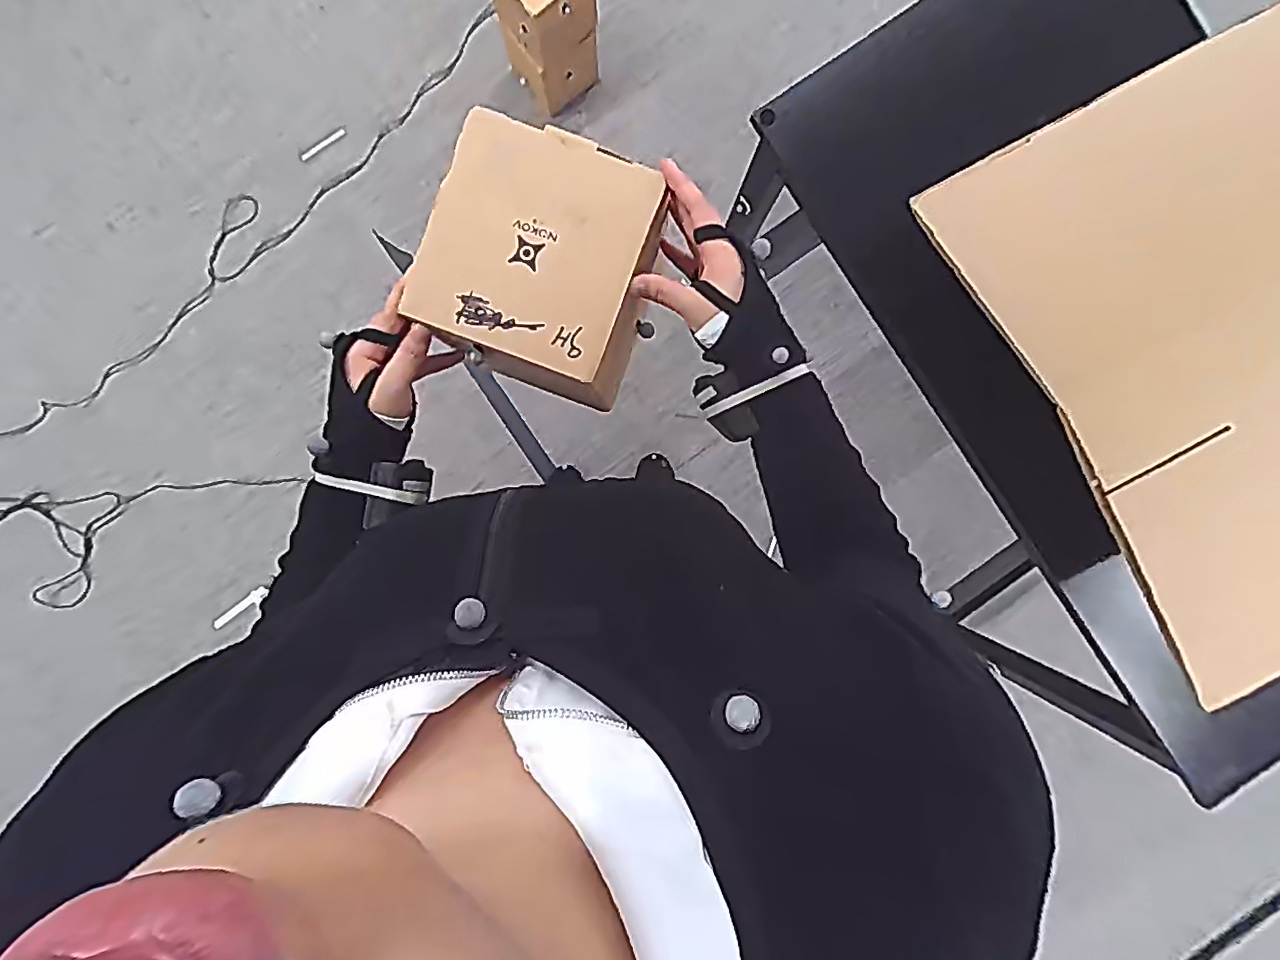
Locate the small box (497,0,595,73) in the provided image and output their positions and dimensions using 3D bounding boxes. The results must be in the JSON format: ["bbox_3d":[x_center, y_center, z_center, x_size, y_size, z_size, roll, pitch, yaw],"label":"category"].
[{"bbox_3d":[-0.213,-1.087,1.225,0.179,0.176,0.168,-41,93,-1],"label":"small box"}]

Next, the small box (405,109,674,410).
[{"bbox_3d":[-0.077,-0.182,0.501,0.168,0.176,0.179,21,89,2],"label":"small box"}]

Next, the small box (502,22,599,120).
[{"bbox_3d":[-0.221,-1.086,1.387,0.179,0.176,0.168,-38,92,0],"label":"small box"}]
